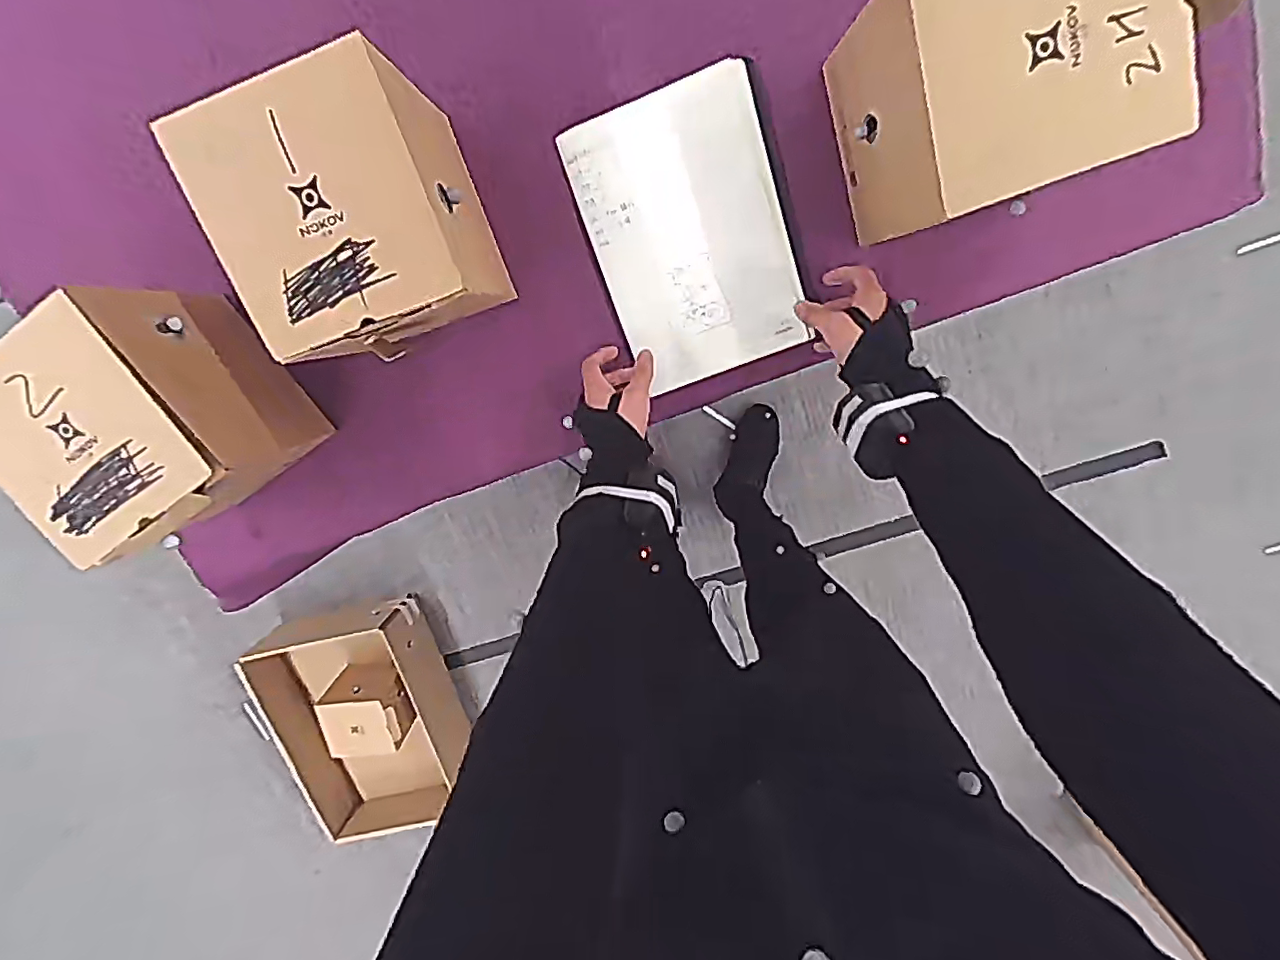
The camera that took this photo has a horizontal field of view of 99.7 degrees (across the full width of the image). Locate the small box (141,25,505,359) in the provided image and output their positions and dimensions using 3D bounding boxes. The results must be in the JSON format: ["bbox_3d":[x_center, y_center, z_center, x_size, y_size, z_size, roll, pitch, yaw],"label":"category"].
[{"bbox_3d":[-0.234,-0.218,0.458,0.168,0.176,0.179,-18,105,6],"label":"small box"}]

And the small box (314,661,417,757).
[{"bbox_3d":[-0.712,0.598,1.429,0.179,0.176,0.168,-6,107,2],"label":"small box"}]

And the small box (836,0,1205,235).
[{"bbox_3d":[0.270,-0.309,0.424,0.179,0.176,0.168,-17,106,6],"label":"small box"}]
